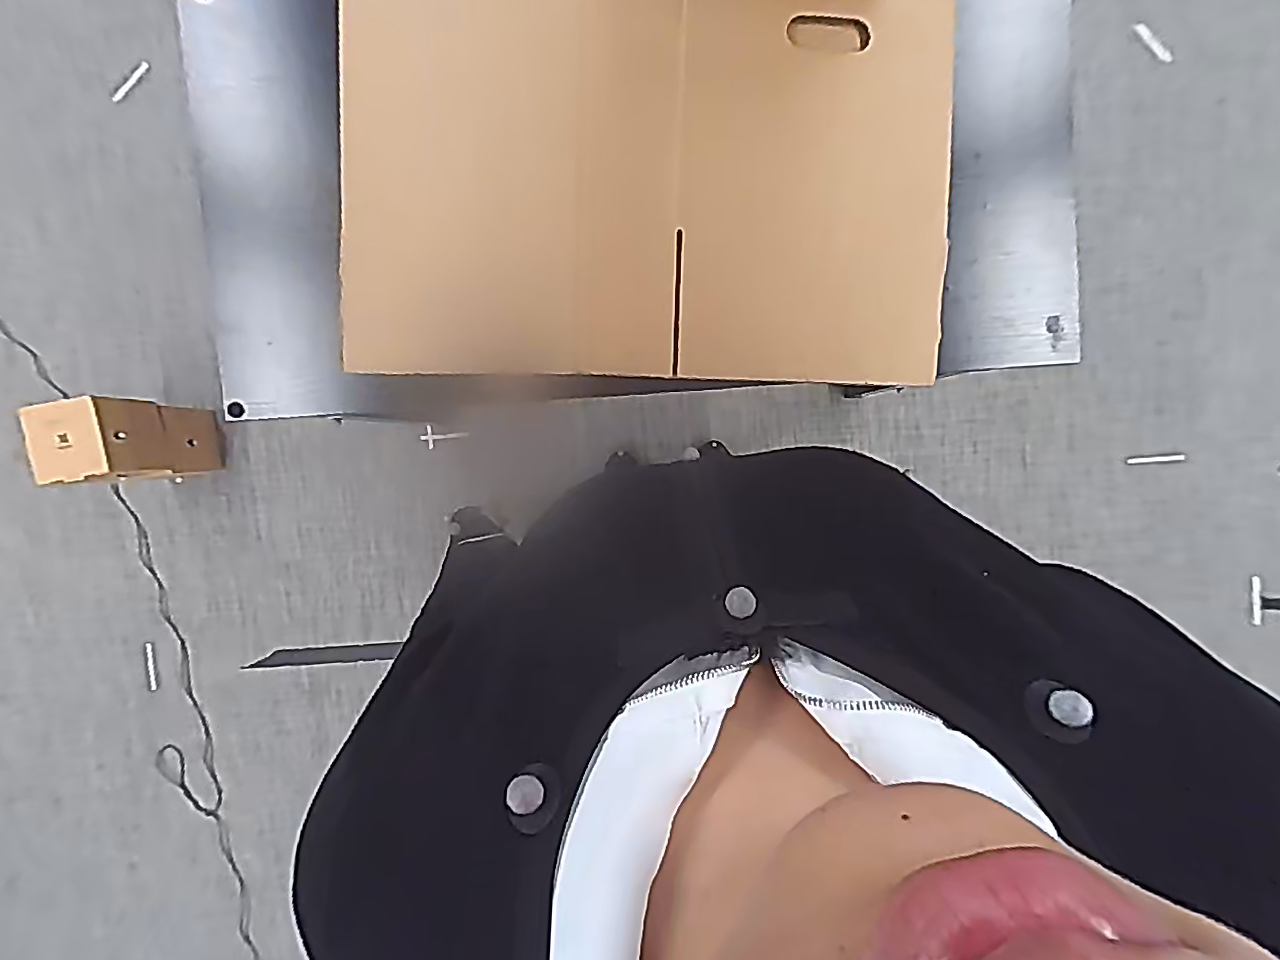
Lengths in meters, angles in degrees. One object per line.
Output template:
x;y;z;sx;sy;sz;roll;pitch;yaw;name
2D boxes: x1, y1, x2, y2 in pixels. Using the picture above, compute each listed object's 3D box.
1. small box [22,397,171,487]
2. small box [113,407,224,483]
-1.256;-0.087;1.265;0.168;0.176;0.179;-11;92;0;small box
-1.252;-0.091;1.427;0.168;0.176;0.179;-8;94;1;small box
